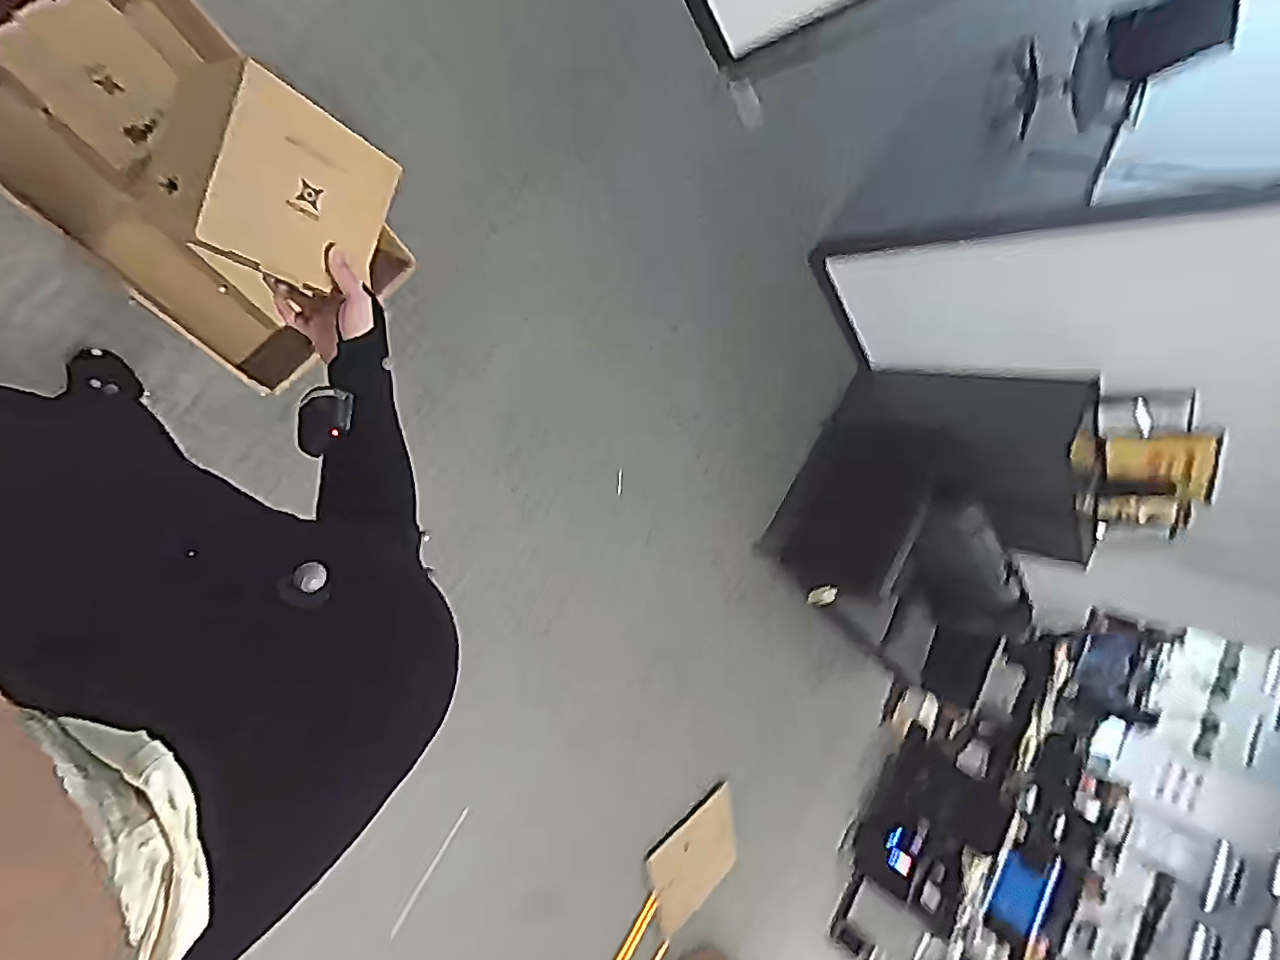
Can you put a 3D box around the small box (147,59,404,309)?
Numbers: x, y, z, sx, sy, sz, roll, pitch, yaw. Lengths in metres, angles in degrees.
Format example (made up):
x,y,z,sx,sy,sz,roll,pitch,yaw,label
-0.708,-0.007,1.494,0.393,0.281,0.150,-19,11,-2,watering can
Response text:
x,y,z,sx,sy,sz,roll,pitch,yaw,label
-0.407,-0.318,0.604,0.168,0.176,0.179,16,96,-59,small box

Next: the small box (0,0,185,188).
x,y,z,sx,sy,sz,roll,pitch,yaw,label
-0.799,-0.575,0.808,0.168,0.176,0.179,-52,129,-19,small box
